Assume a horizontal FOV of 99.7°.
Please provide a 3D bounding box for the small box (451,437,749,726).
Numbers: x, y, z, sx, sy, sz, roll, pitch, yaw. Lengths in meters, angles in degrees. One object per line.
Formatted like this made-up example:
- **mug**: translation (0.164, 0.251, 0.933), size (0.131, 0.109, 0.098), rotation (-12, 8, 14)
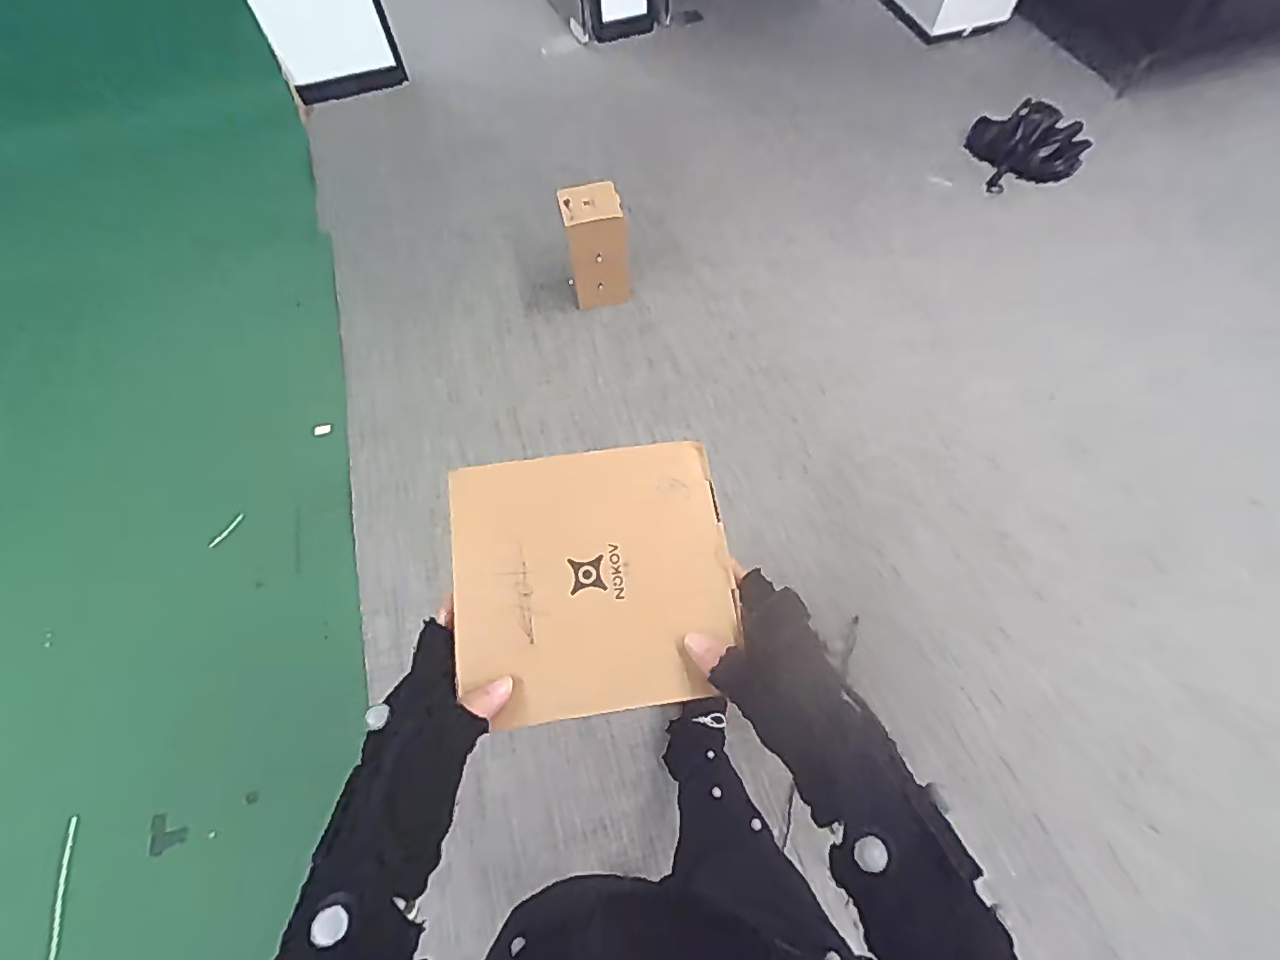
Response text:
- **small box**: translation (-0.033, 0.083, 0.422), size (0.179, 0.176, 0.168), rotation (-9, 70, -4)

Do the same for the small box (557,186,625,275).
- **small box**: translation (-0.145, -0.766, 1.671), size (0.179, 0.176, 0.168), rotation (-15, 65, -4)

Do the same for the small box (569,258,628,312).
- **small box**: translation (-0.138, -0.695, 1.815), size (0.179, 0.176, 0.168), rotation (-13, 63, -3)
